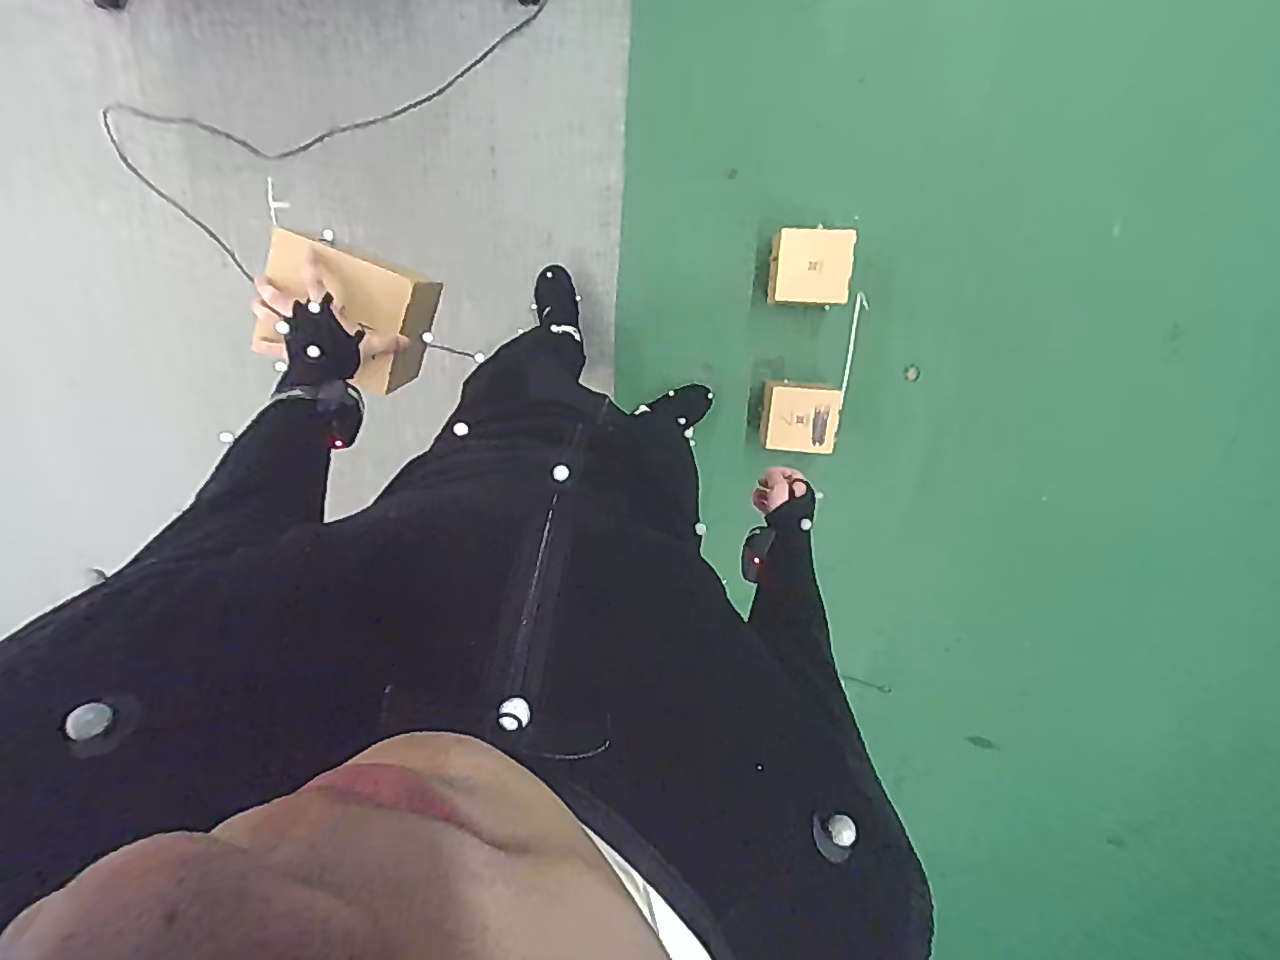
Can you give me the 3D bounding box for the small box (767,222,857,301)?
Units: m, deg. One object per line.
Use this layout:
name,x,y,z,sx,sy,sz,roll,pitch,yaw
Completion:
small box,0.421,-0.541,1.357,0.179,0.176,0.168,4,107,4

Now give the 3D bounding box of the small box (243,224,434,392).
small box,-0.424,-0.246,0.785,0.179,0.176,0.168,19,107,-12
